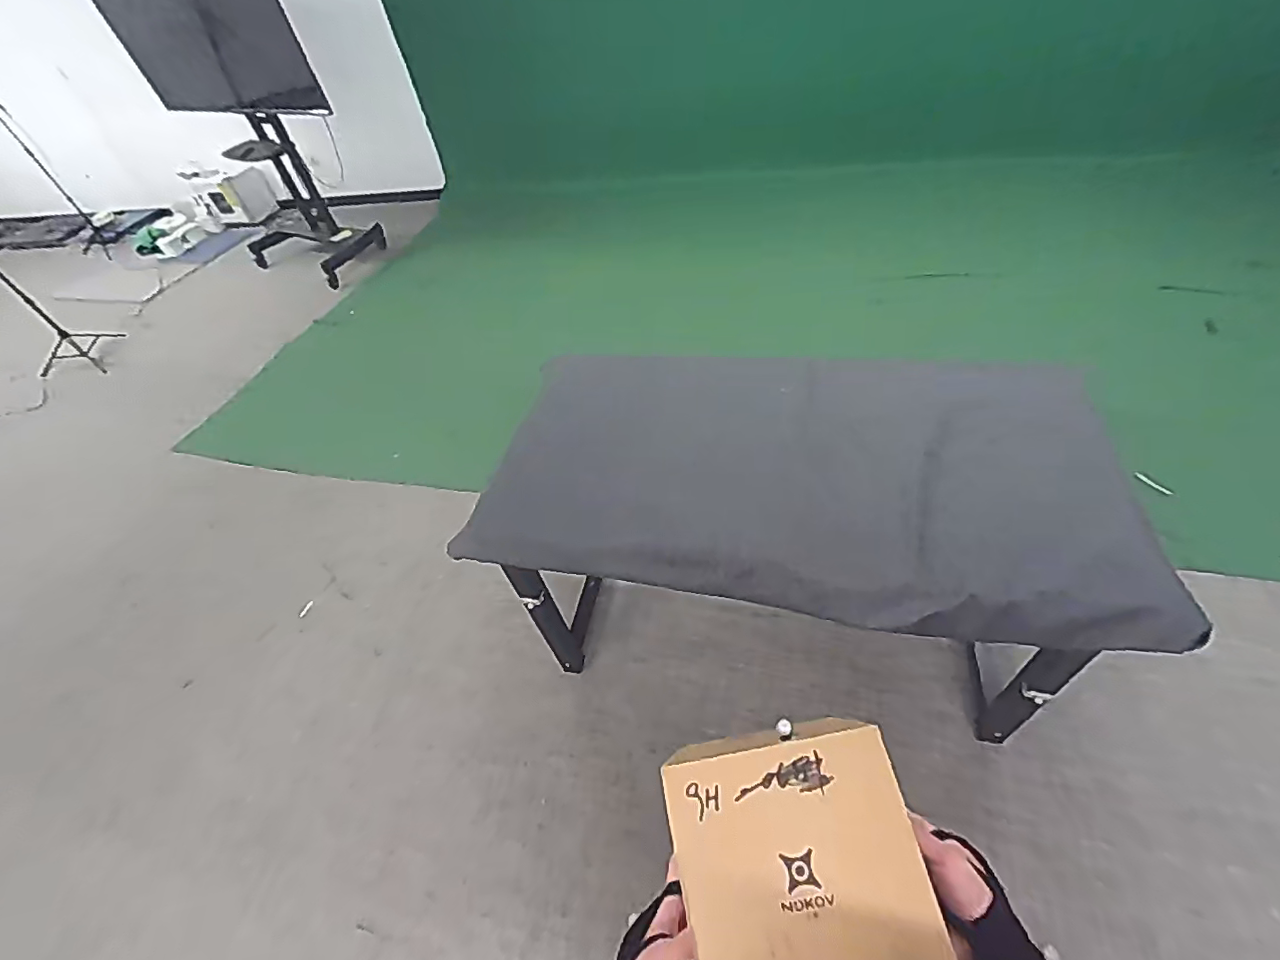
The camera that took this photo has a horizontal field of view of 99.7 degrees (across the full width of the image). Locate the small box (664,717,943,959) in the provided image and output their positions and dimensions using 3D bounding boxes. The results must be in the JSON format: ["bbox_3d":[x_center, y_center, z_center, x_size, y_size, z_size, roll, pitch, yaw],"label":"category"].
[{"bbox_3d":[0.123,0.310,0.452,0.168,0.176,0.179,-13,68,4],"label":"small box"}]
